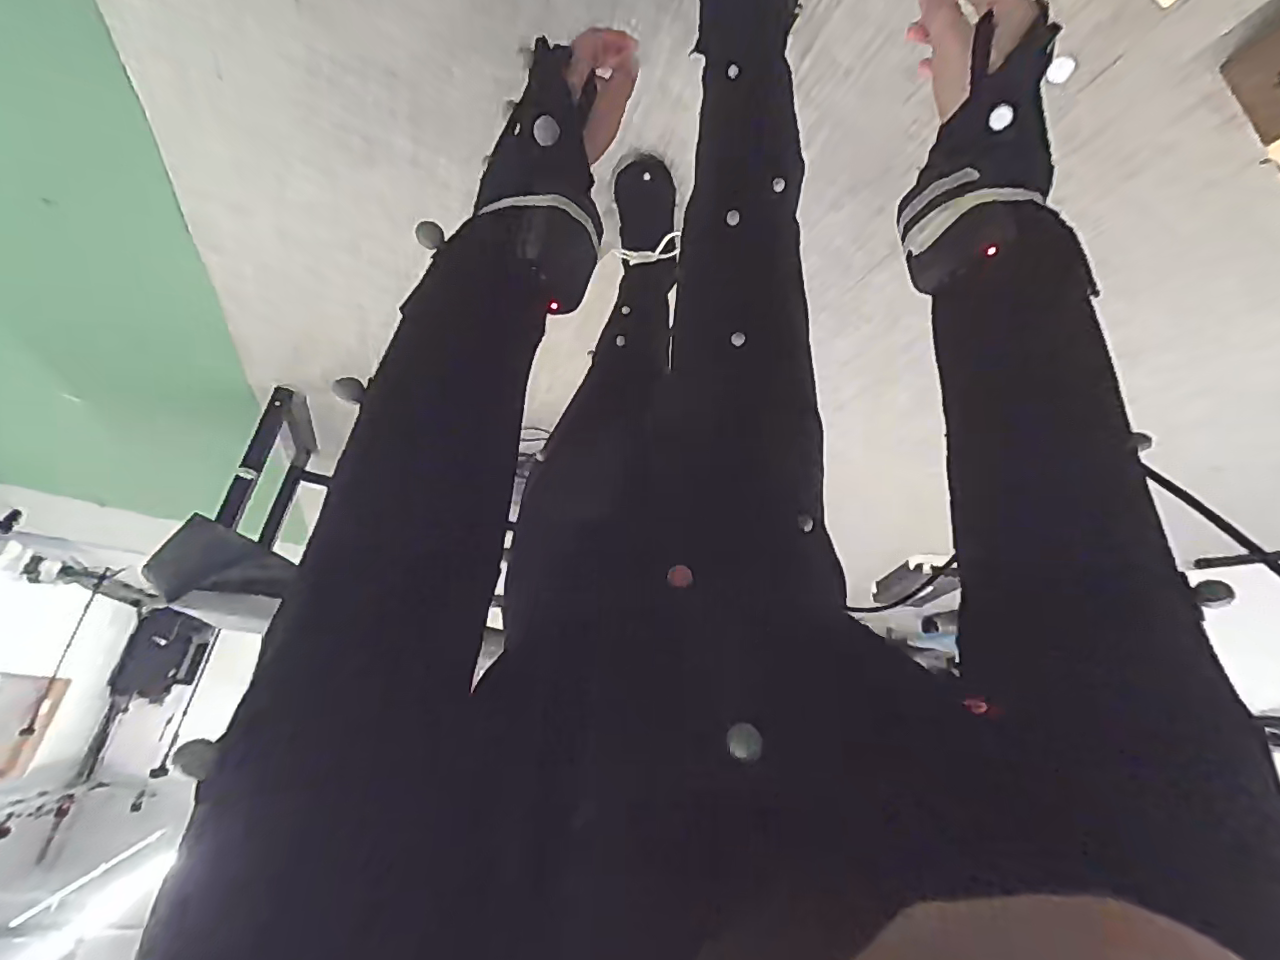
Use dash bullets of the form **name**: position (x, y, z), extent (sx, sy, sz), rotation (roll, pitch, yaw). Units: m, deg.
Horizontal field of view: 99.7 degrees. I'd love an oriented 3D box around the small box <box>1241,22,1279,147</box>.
- **small box**: position (0.888, -0.497, 0.651), extent (0.168, 0.176, 0.179), rotation (17, 153, -25)
